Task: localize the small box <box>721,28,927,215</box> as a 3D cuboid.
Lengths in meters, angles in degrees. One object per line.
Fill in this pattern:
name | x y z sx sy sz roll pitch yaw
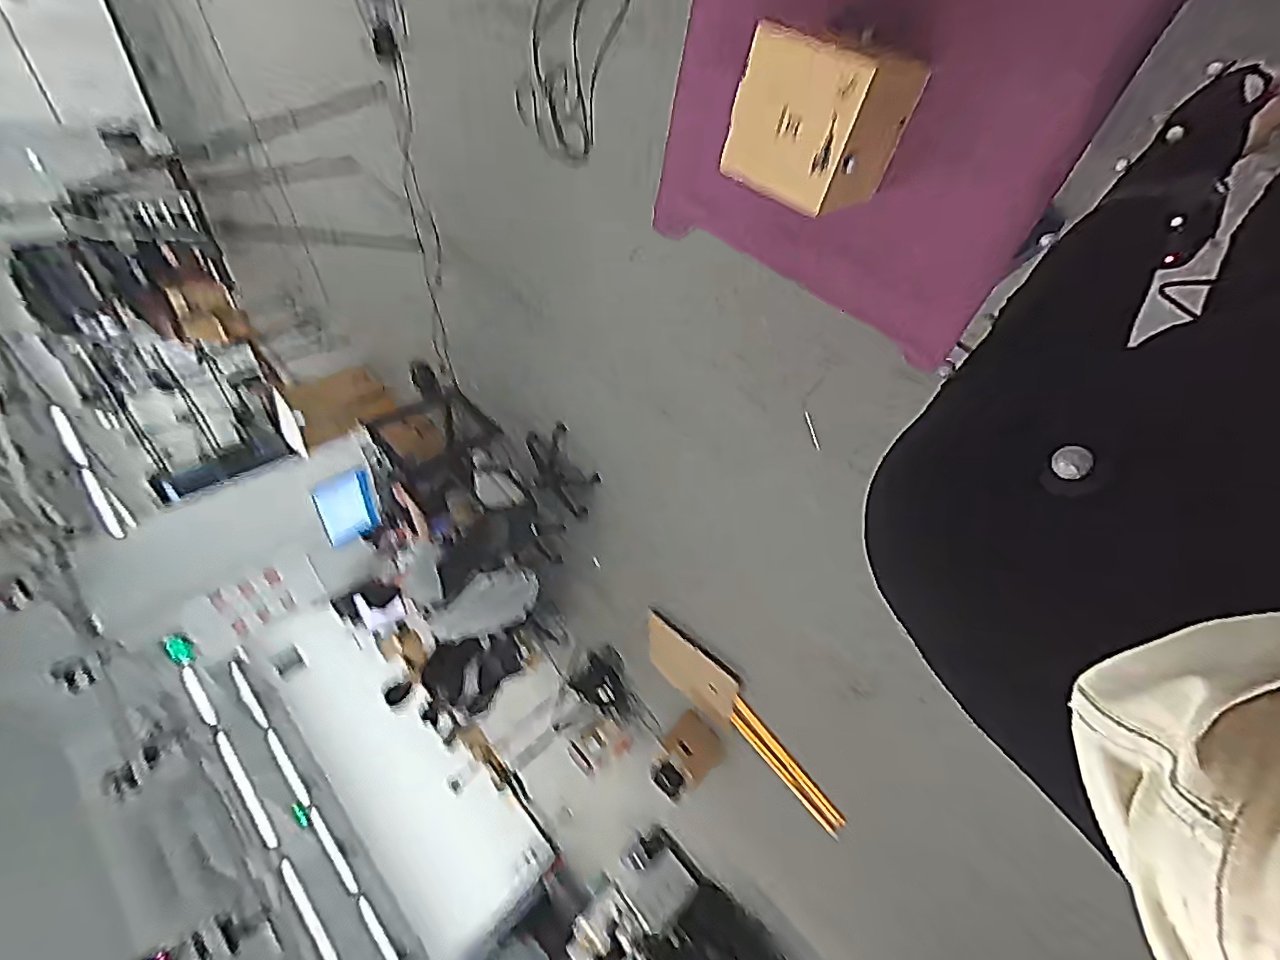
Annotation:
small box | 0.248 -0.493 0.745 0.179 0.176 0.168 41 143 23
